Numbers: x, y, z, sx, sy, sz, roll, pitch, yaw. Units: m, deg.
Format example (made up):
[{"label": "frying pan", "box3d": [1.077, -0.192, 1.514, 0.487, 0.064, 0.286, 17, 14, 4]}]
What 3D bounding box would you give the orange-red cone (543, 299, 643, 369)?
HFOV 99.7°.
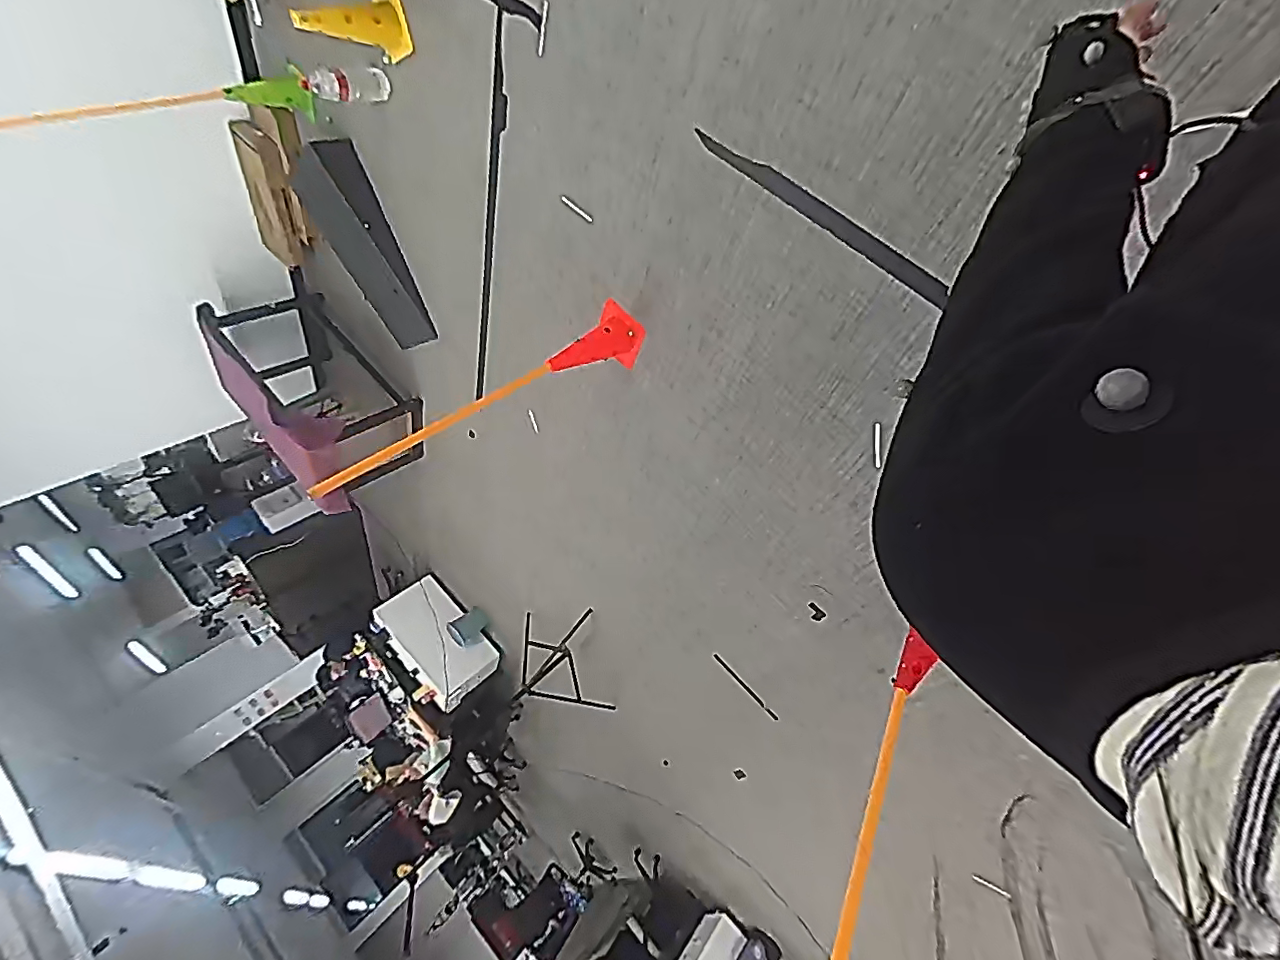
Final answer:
[{"label": "orange-red cone", "box3d": [-0.195, -0.462, 1.885, 0.199, 0.360, 0.198, 46, 142, 13]}]
